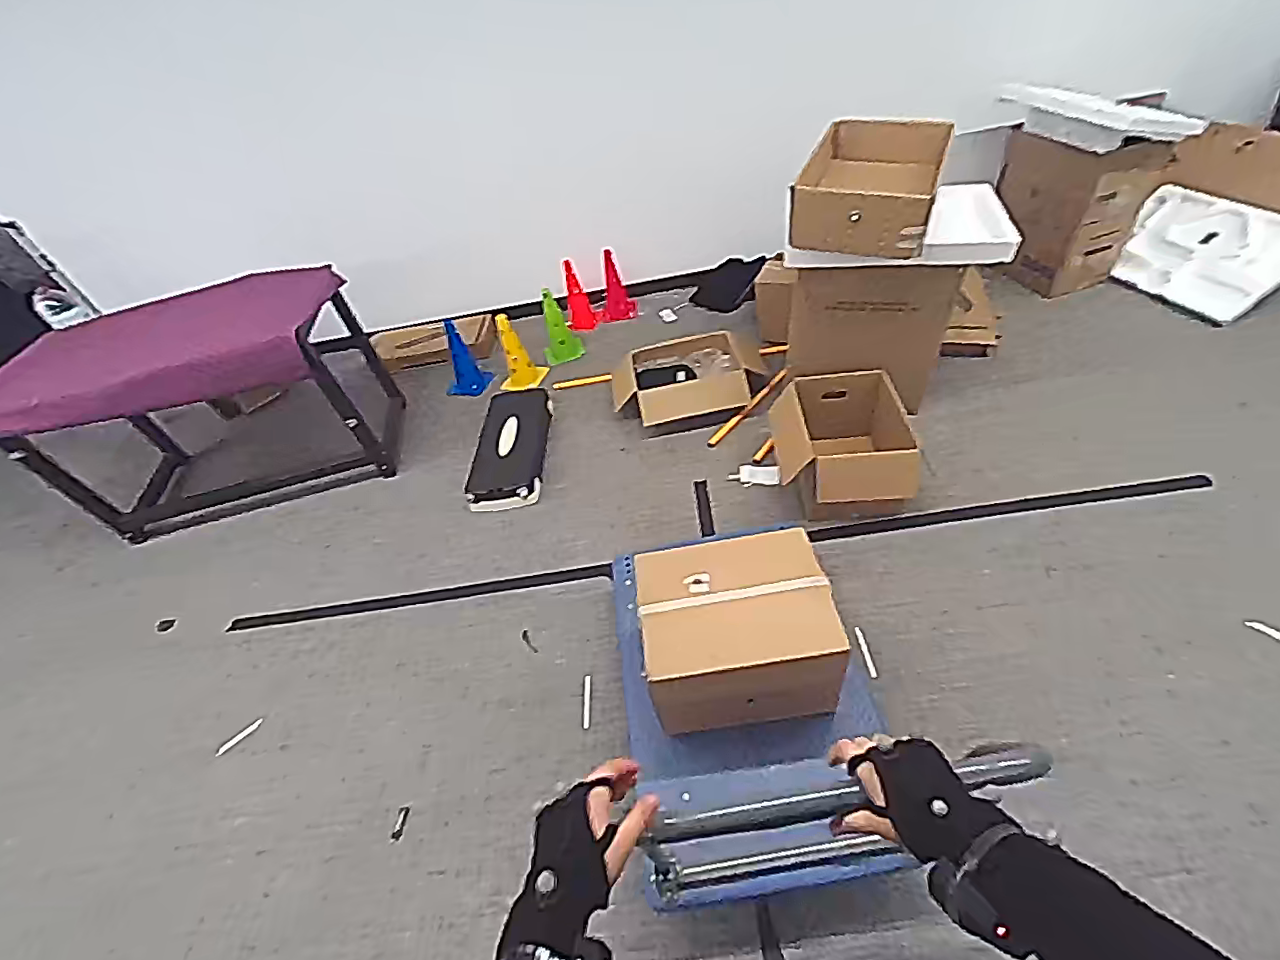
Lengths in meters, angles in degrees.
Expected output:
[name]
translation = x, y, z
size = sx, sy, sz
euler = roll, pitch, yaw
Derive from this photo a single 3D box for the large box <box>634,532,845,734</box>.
[large box]
translation = 0.220, 0.367, 1.280
size = 0.408, 0.320, 0.320
euler = -11, 44, 3
